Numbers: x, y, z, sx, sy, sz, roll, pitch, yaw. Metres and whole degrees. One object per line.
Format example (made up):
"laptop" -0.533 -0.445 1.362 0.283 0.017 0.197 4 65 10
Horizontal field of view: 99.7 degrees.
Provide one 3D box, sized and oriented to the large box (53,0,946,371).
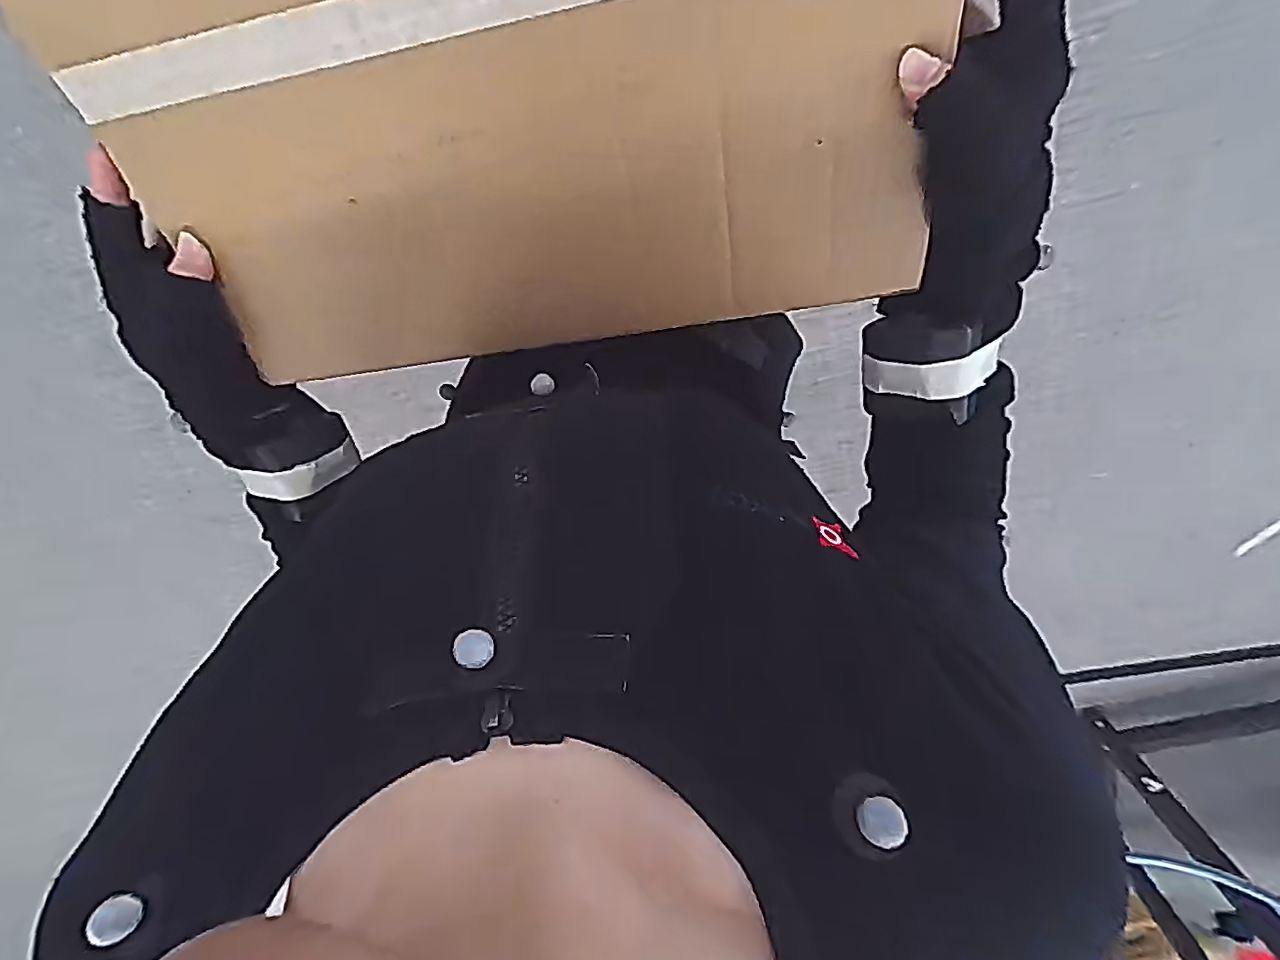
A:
"large box" -0.063 -0.304 0.357 0.408 0.320 0.320 -6 129 8
